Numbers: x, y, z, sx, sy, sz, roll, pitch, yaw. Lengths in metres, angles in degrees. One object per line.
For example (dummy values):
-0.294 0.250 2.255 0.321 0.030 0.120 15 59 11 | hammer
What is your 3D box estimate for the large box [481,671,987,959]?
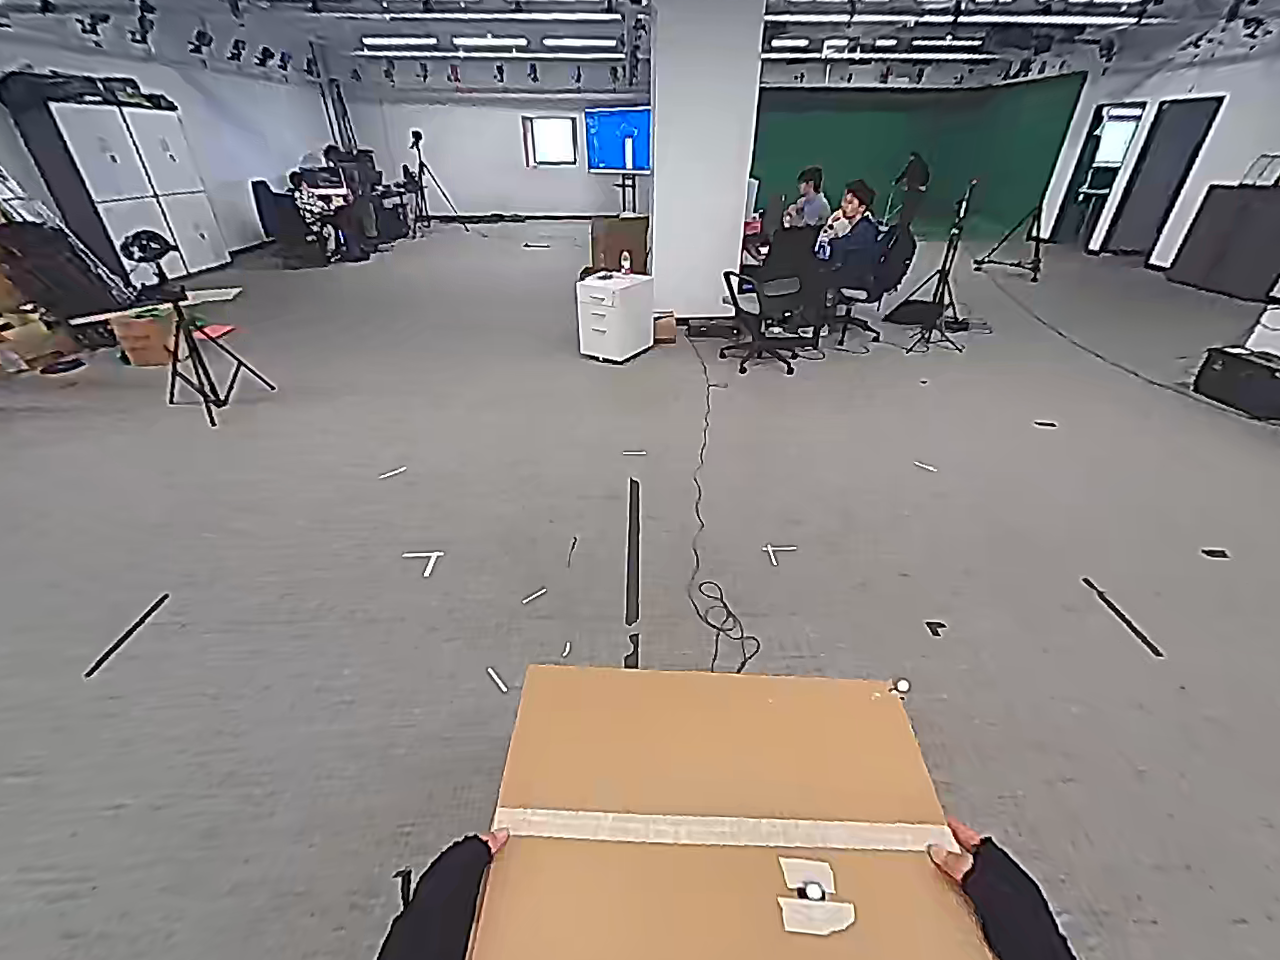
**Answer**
0.070 0.434 0.580 0.408 0.320 0.320 3 39 0 | large box
